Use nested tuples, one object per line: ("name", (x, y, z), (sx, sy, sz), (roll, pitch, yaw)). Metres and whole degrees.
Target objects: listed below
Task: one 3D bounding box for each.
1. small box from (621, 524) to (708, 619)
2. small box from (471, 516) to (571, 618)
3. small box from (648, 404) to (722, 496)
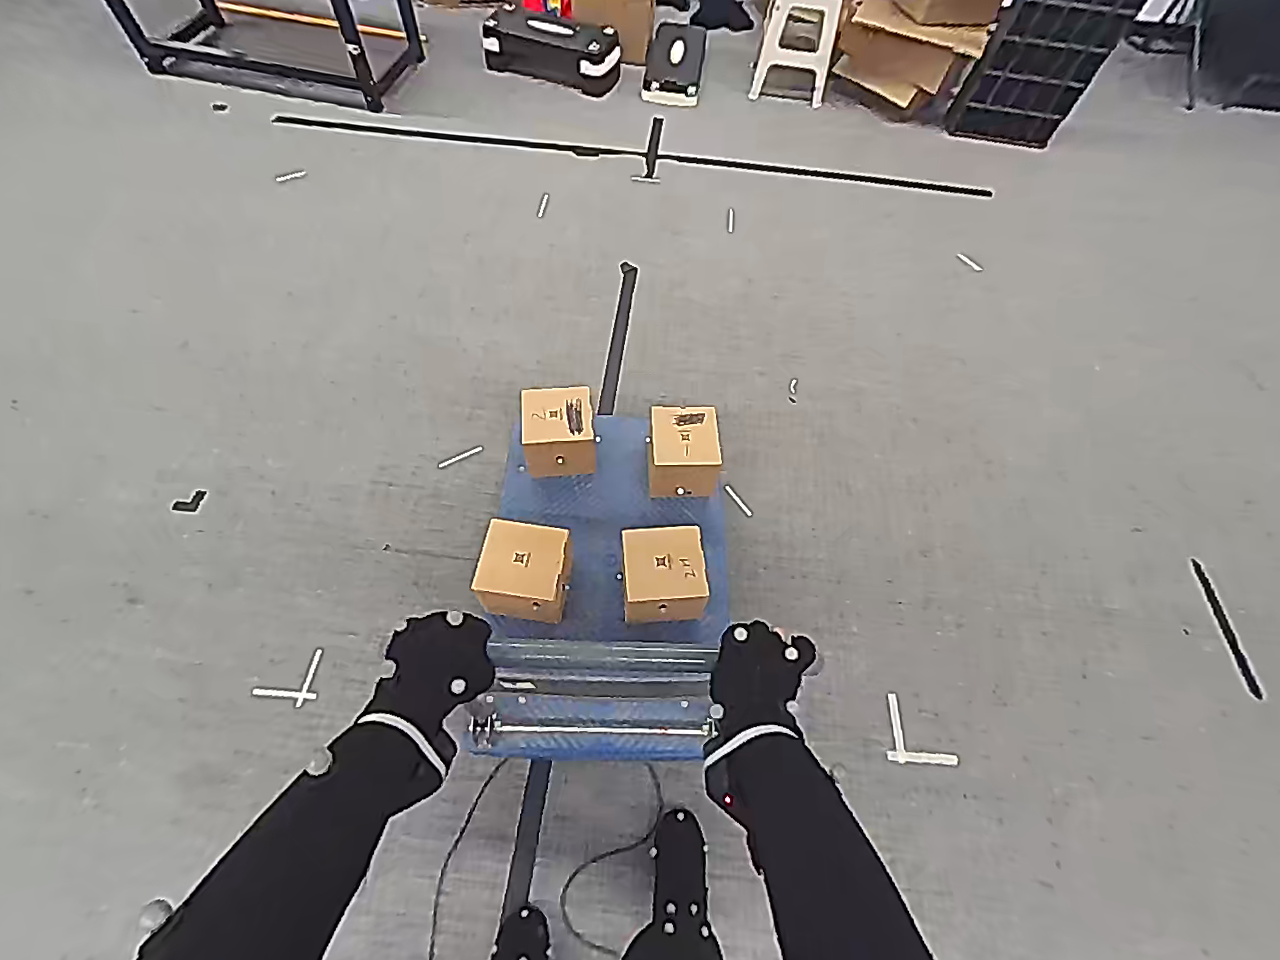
("small box", (0.048, 0.212, 1.225), (0.179, 0.176, 0.168), (-3, 60, -5))
("small box", (-0.257, 0.201, 1.214), (0.179, 0.176, 0.168), (9, 60, 0))
("small box", (0.108, -0.076, 1.394), (0.168, 0.176, 0.179), (0, 61, -3))
